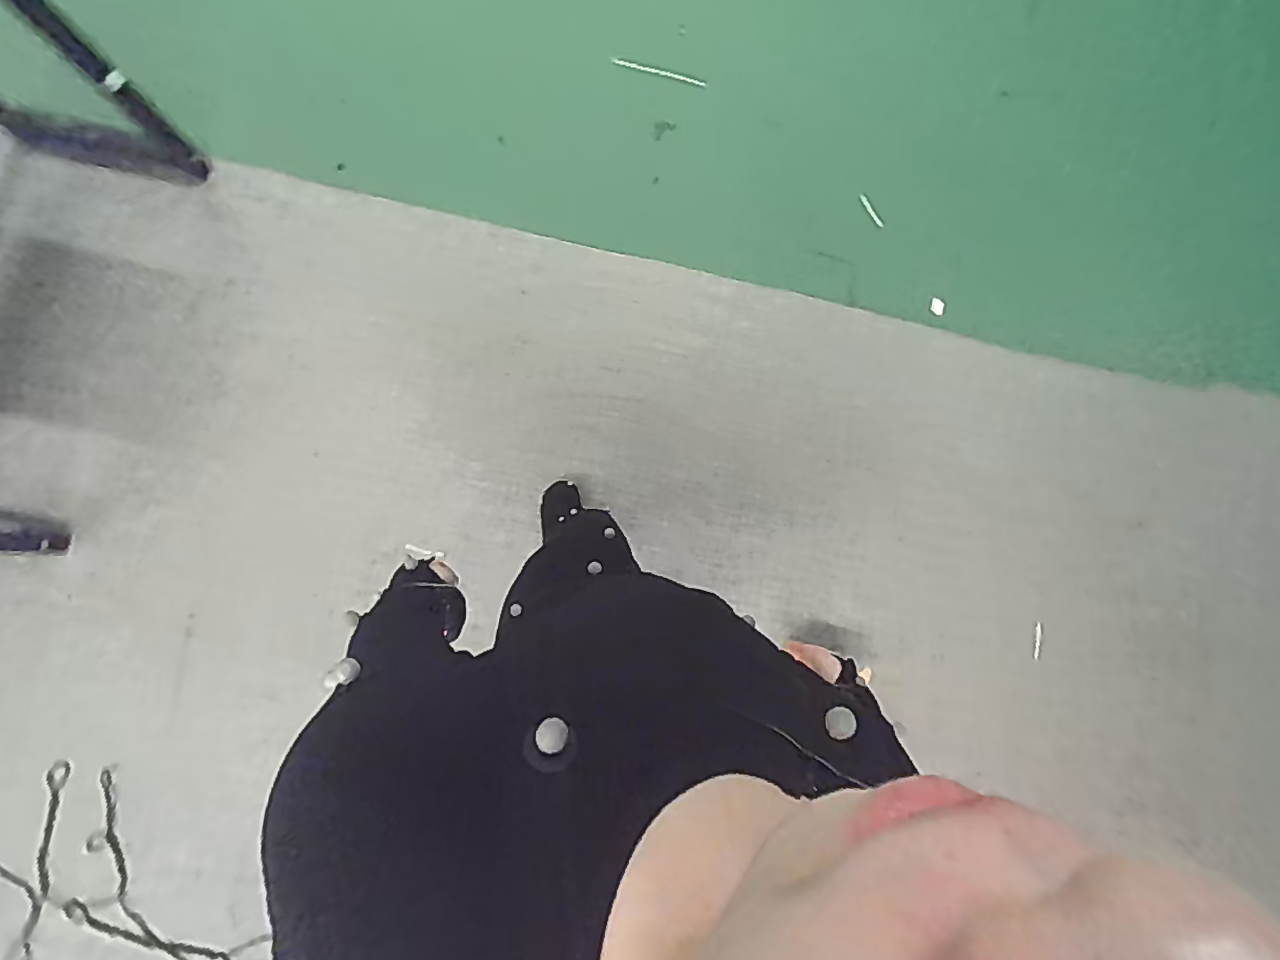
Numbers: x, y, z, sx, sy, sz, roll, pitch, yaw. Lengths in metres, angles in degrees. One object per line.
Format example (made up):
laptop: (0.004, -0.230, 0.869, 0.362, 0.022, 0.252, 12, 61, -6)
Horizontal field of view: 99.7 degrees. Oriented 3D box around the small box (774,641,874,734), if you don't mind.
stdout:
small box: (0.474, 0.534, 1.415, 0.179, 0.176, 0.168, 19, 80, 0)
